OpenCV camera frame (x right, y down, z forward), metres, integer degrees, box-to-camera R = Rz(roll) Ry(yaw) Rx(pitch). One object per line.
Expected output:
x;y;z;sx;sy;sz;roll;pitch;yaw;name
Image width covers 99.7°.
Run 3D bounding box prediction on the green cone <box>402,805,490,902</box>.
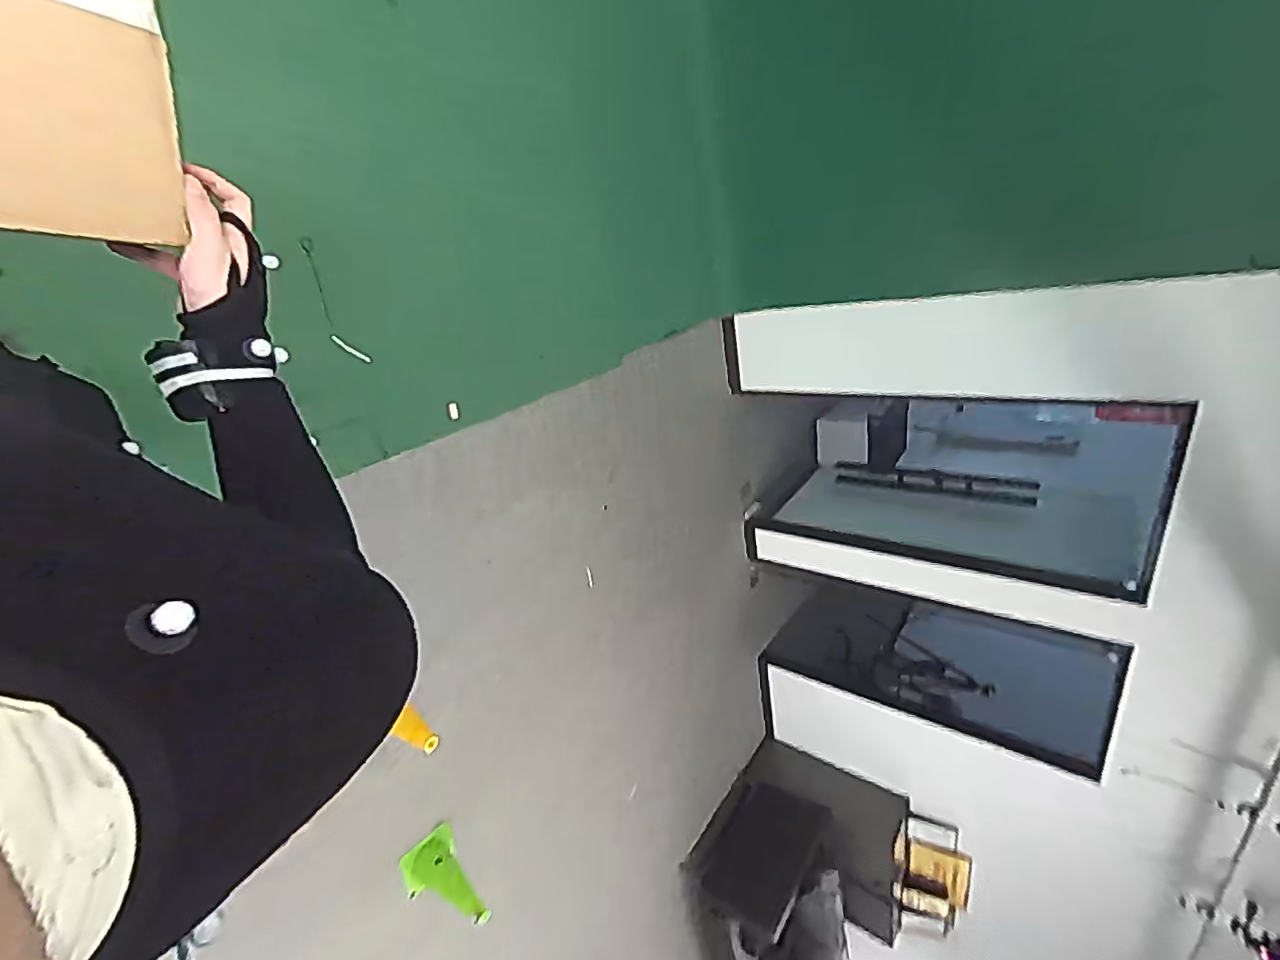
-0.660;1.393;1.949;0.200;0.368;0.202;-27;117;-46;green cone
